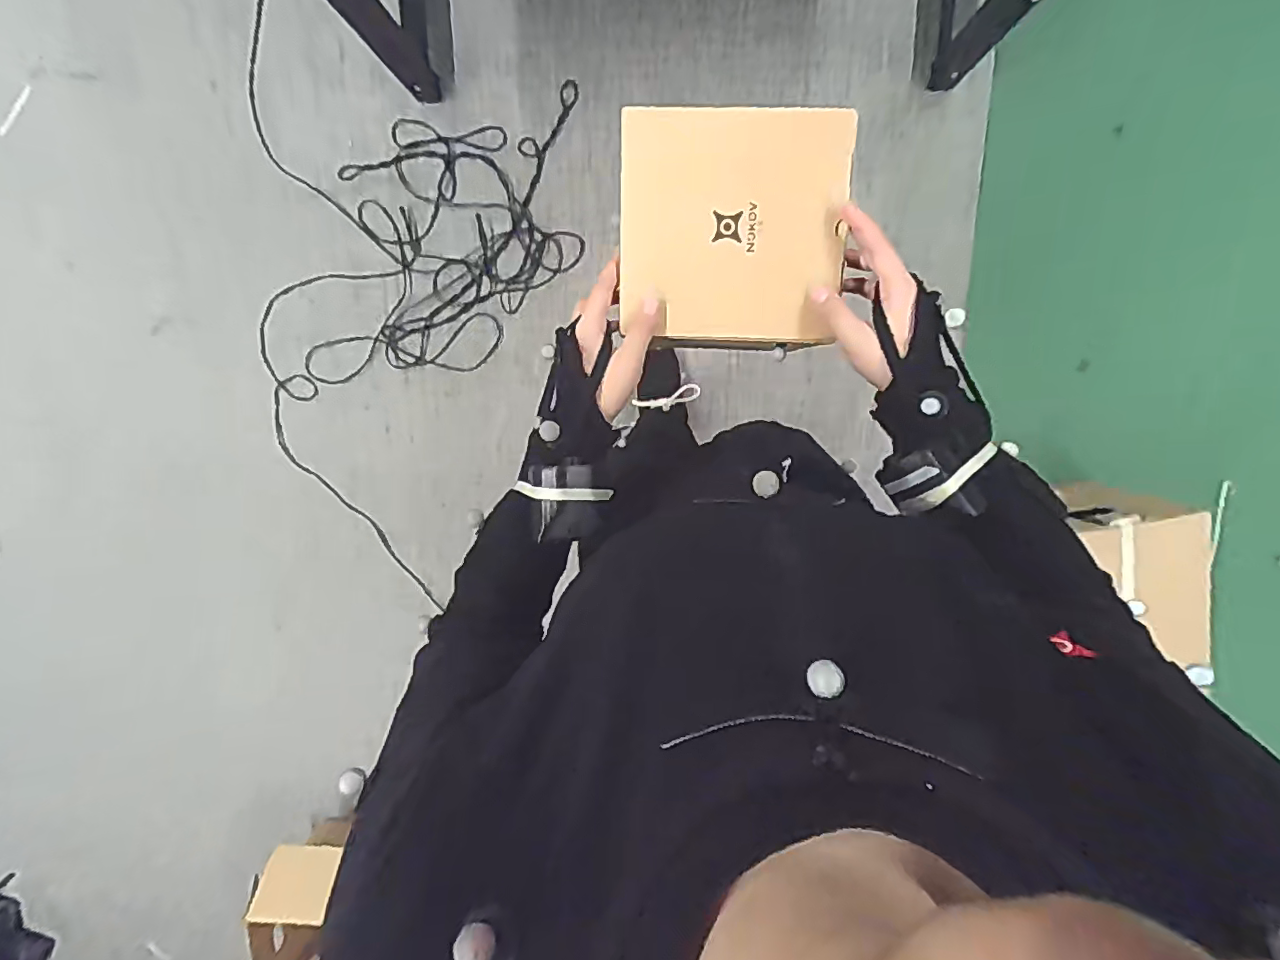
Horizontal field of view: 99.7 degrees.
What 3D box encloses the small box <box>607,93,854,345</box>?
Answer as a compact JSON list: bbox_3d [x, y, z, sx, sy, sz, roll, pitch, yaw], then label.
[{"bbox_3d":[0.067,-0.210,0.481,0.179,0.176,0.168,2,101,1],"label":"small box"}]
